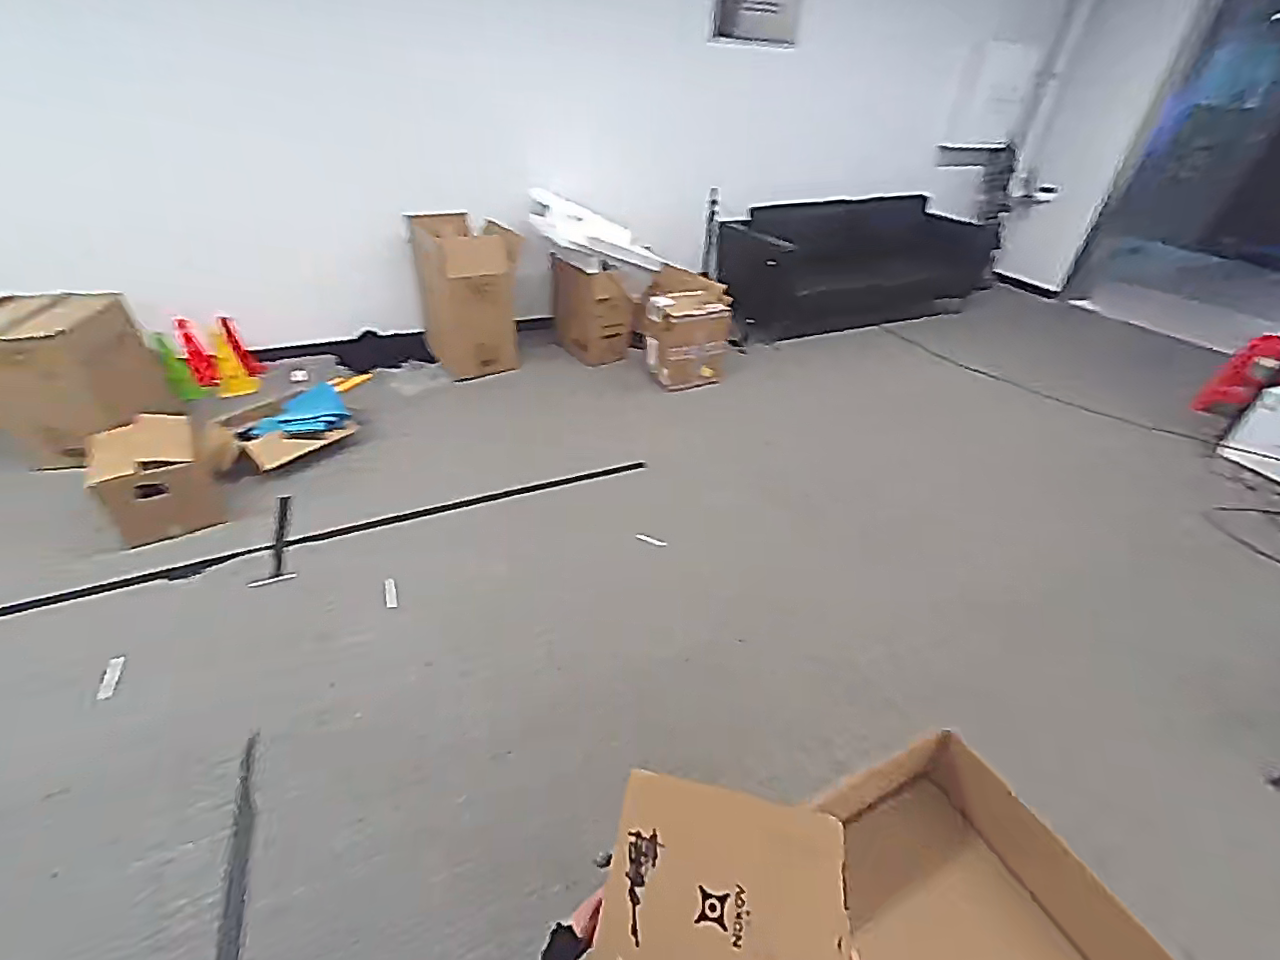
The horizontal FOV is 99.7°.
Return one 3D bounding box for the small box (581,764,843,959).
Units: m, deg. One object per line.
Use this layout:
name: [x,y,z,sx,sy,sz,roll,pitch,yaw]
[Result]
small box: [0.051,0.365,0.434,0.179,0.176,0.168,10,39,8]
